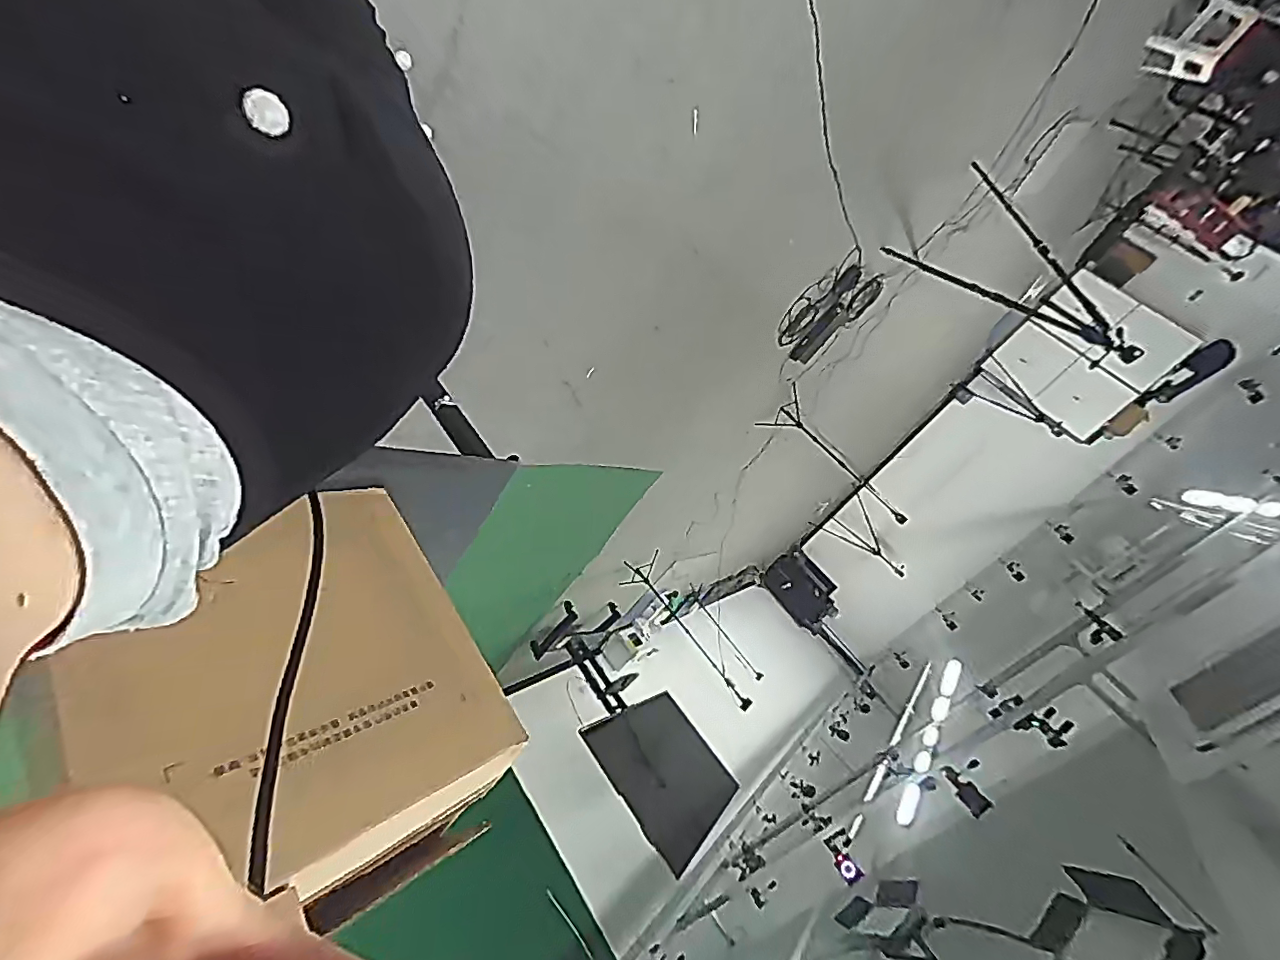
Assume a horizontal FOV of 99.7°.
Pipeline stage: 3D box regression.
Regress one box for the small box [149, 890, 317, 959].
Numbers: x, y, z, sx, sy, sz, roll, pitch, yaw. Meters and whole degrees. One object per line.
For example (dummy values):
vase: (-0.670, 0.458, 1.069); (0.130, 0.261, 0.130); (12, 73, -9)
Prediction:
small box: (-0.458, 0.600, 0.588); (0.168, 0.176, 0.179); (-5, 137, -53)
